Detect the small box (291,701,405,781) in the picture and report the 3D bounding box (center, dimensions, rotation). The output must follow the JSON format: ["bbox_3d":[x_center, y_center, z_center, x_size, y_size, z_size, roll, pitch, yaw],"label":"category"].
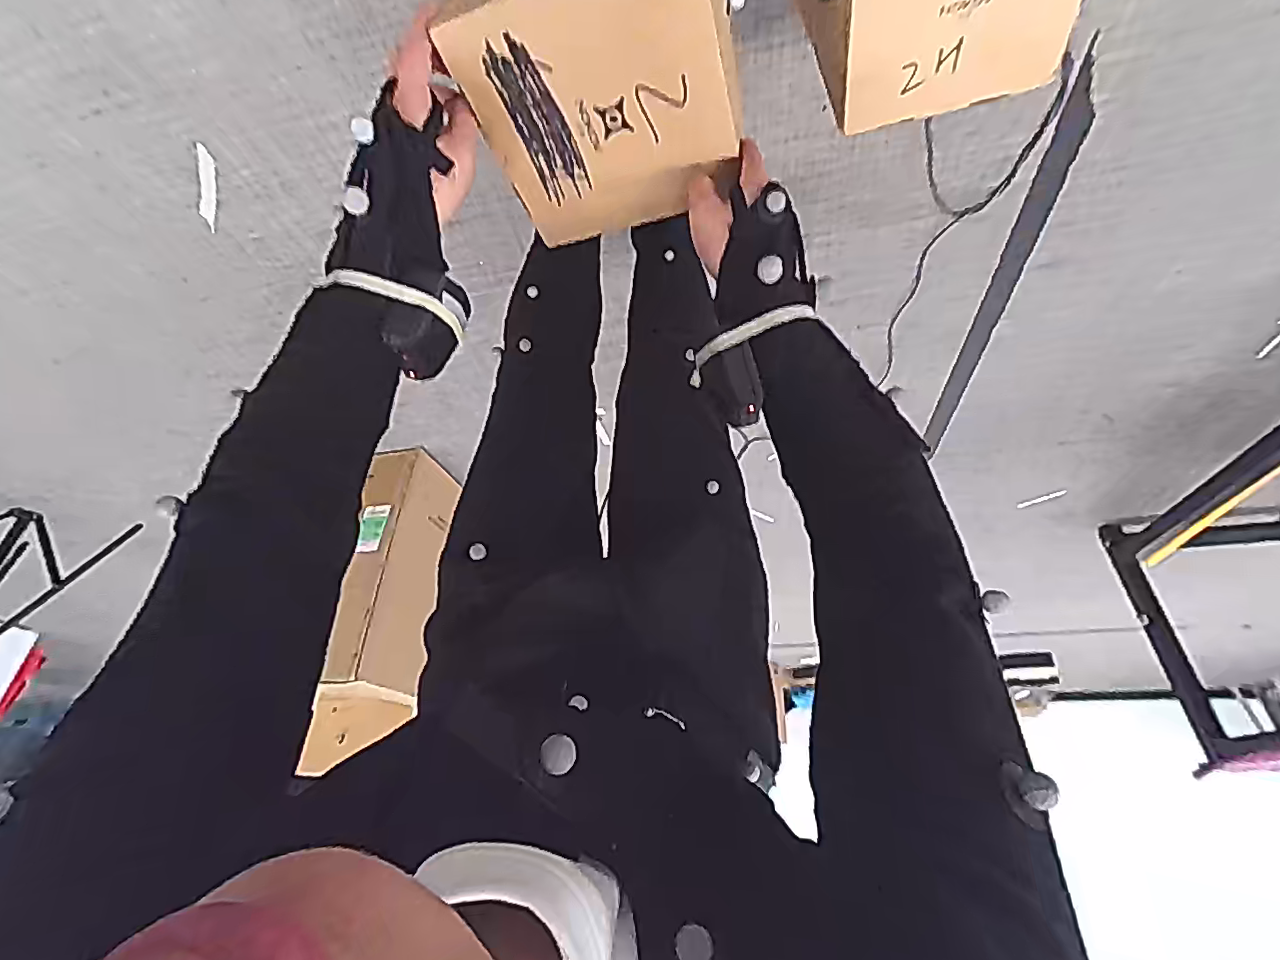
[{"bbox_3d":[-0.728,0.660,1.369,0.168,0.176,0.179,-7,149,11],"label":"small box"}]

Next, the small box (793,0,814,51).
[{"bbox_3d":[0.234,-0.570,0.522,0.168,0.176,0.179,-6,149,11],"label":"small box"}]

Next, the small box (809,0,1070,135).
[{"bbox_3d":[0.234,-0.428,0.437,0.168,0.176,0.179,-6,149,12],"label":"small box"}]
